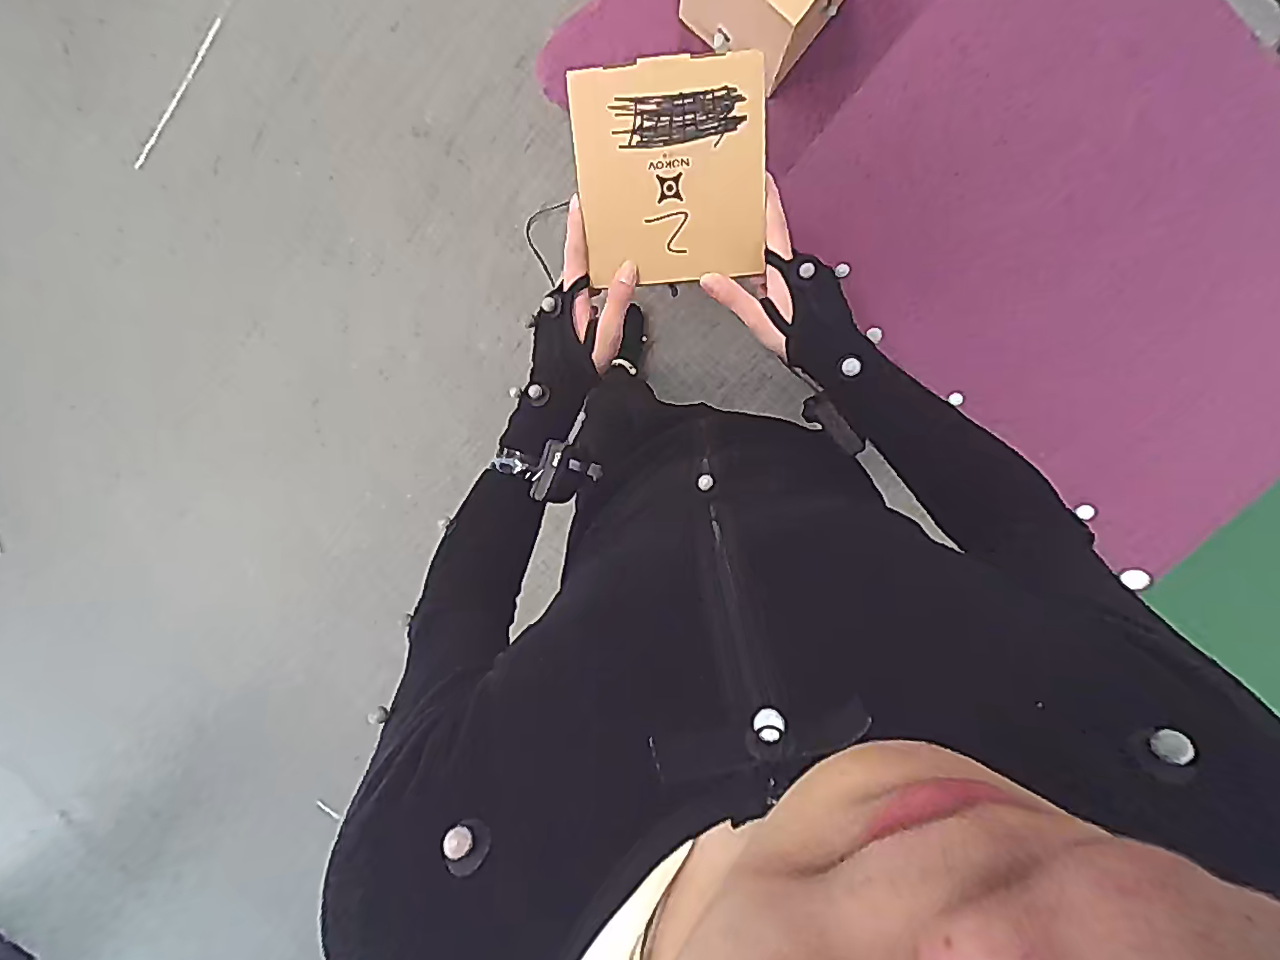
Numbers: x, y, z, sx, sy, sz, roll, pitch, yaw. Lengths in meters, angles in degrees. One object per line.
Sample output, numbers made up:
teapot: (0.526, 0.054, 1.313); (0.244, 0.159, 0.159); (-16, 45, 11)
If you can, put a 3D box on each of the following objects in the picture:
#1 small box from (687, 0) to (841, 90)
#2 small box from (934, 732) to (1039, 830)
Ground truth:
small box: (0.168, -0.636, 0.653); (0.168, 0.176, 0.179); (39, 101, -5)
small box: (1.055, 0.913, 1.663); (0.179, 0.176, 0.168); (42, 100, -6)
